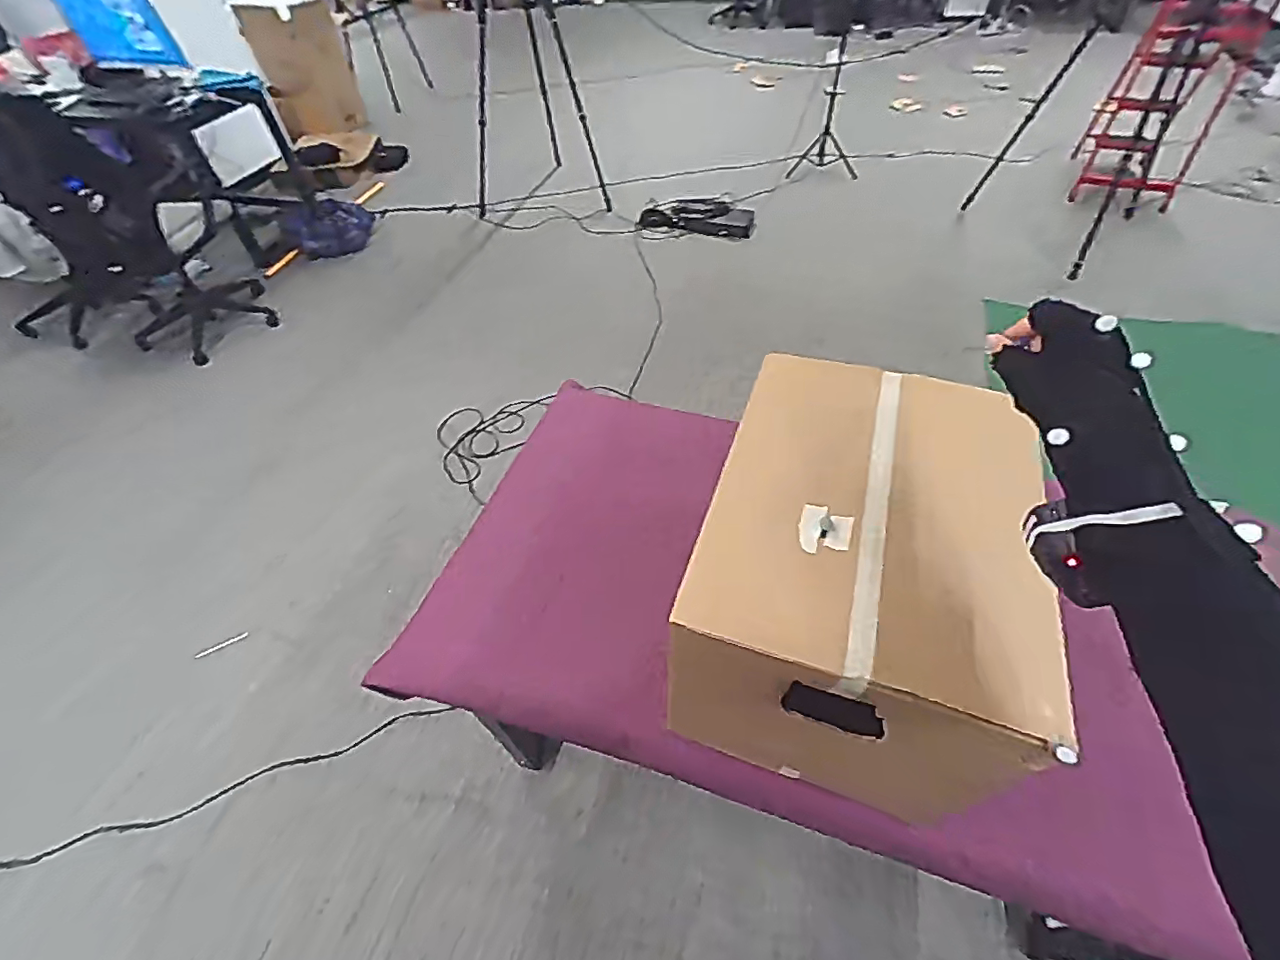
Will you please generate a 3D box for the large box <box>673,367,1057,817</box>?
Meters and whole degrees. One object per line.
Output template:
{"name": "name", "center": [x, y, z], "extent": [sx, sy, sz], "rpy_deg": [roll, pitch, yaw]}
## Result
{"name": "large box", "center": [0.246, 0.125, 0.678], "extent": [0.320, 0.320, 0.408], "rpy_deg": [14, 52, 15]}
